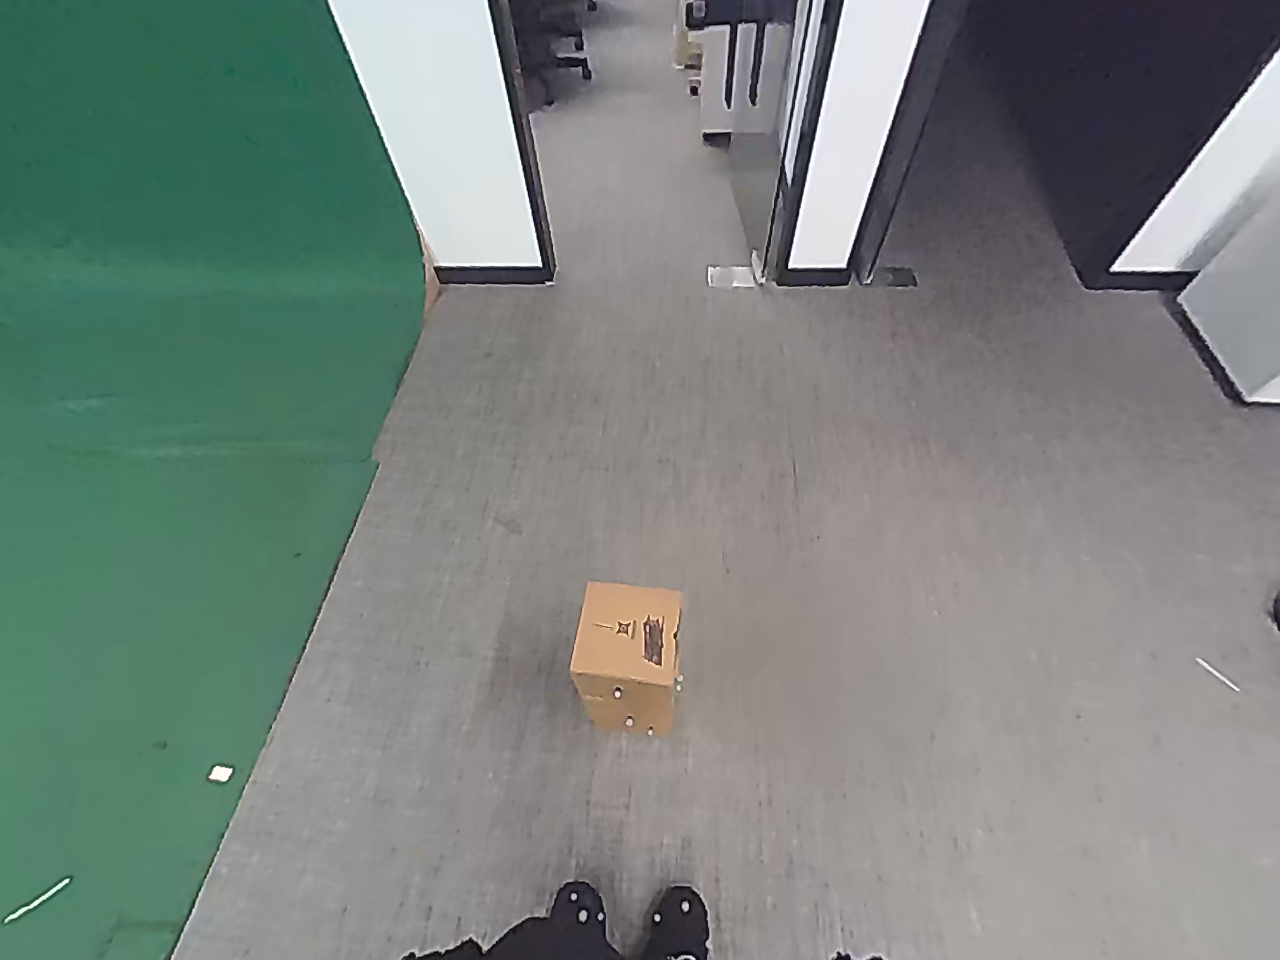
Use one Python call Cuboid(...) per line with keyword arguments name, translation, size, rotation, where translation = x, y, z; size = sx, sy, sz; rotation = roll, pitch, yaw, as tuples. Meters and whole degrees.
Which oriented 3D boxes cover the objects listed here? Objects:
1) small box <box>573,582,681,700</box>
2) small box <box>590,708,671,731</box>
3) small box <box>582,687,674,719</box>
Cuboid(name="small box", translation=(-0.018, 0.303, 1.005), size=(0.179, 0.176, 0.168), rotation=(4, 56, 3))
Cuboid(name="small box", translation=(-0.012, 0.487, 1.277), size=(0.179, 0.176, 0.168), rotation=(2, 56, 6))
Cuboid(name="small box", translation=(-0.015, 0.397, 1.140), size=(0.179, 0.176, 0.168), rotation=(5, 56, 5))
